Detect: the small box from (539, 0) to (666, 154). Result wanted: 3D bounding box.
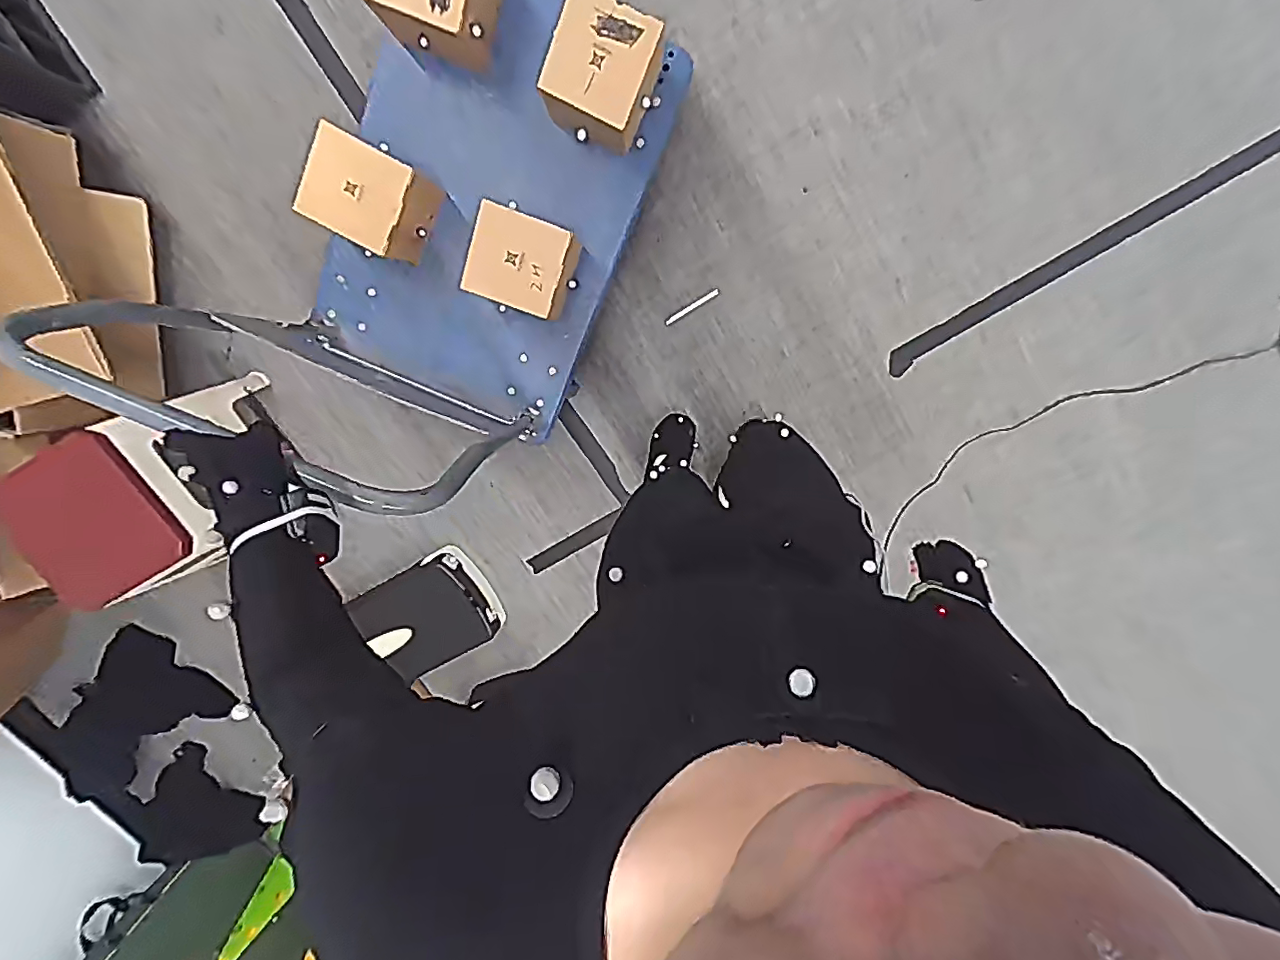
[{"bbox_3d":[-0.067,-0.741,0.989,0.168,0.176,0.179,24,106,-7],"label":"small box"}]

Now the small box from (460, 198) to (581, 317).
[{"bbox_3d":[-0.230,-0.430,1.078,0.179,0.176,0.168,19,105,-5],"label":"small box"}]
